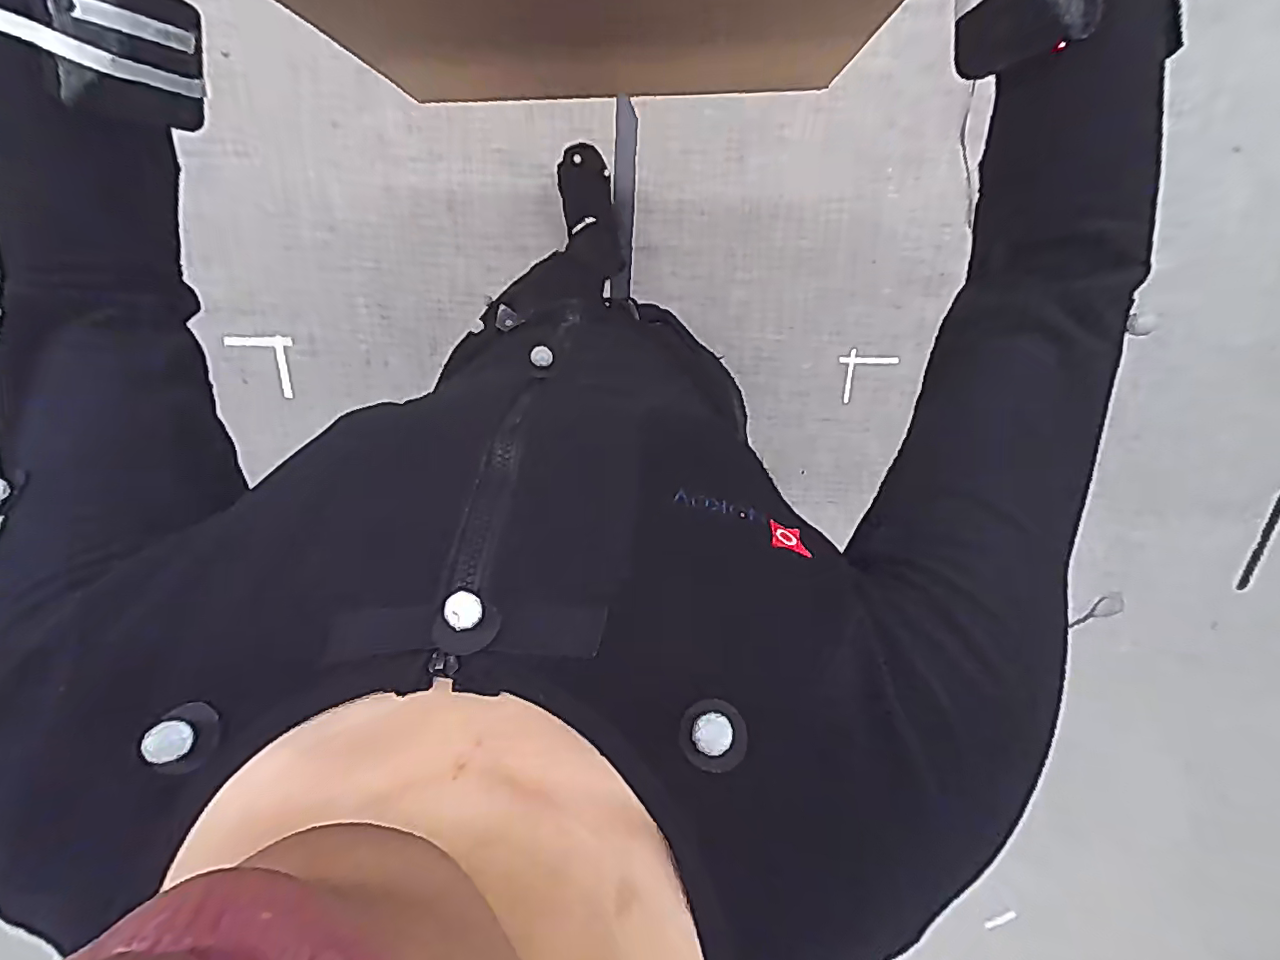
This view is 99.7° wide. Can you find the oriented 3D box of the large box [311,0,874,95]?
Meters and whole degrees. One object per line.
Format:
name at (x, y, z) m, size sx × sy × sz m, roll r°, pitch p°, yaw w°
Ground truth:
large box at (-0.031, -0.478, 0.336) m, size 0.408 × 0.320 × 0.320 m, roll -1°, pitch 111°, yaw 2°
